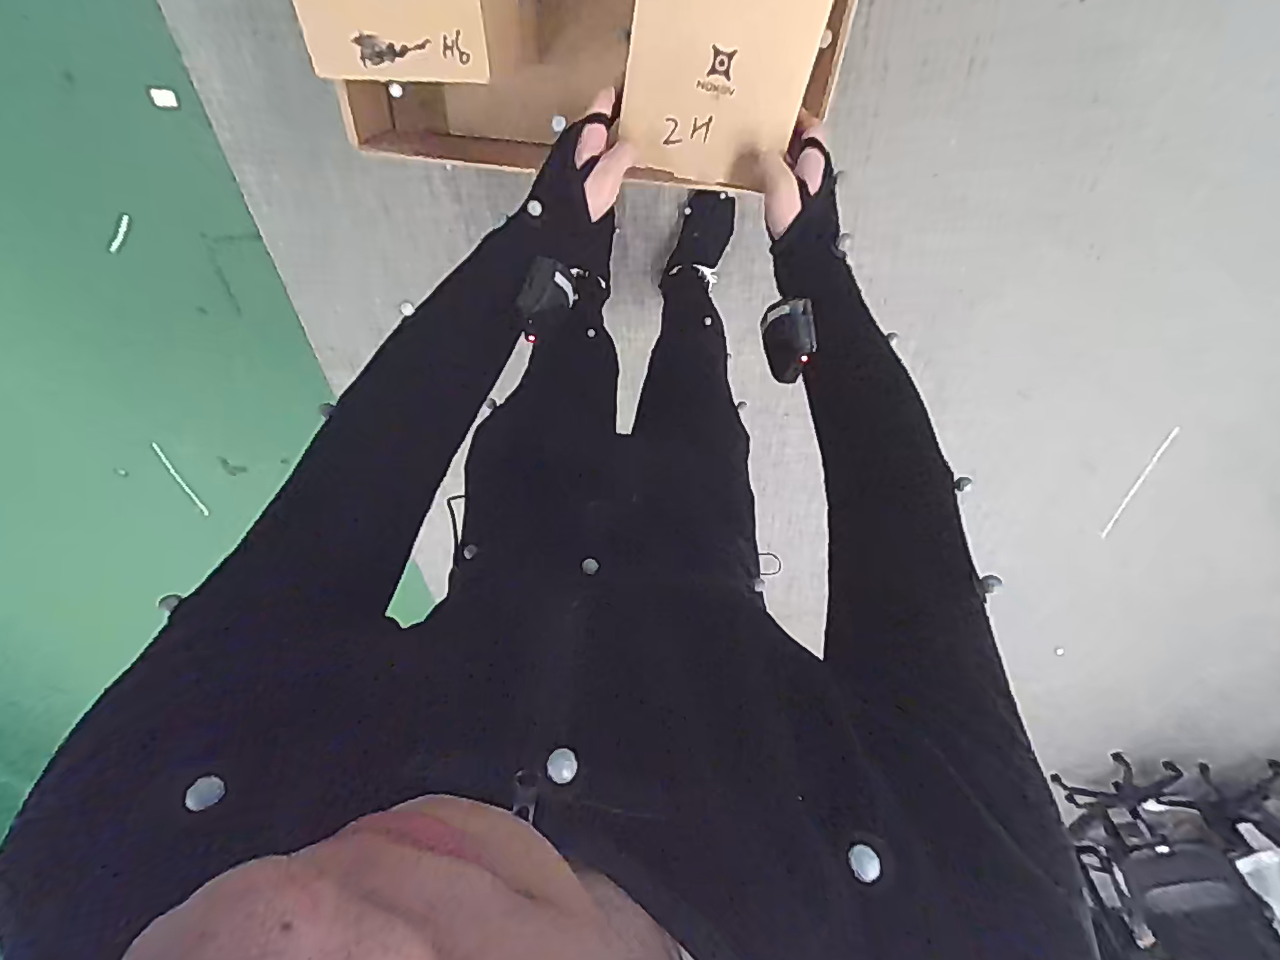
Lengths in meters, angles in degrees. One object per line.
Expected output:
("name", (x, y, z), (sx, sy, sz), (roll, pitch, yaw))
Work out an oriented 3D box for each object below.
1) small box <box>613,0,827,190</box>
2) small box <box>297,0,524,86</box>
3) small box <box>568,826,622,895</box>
("small box", (0.070, -0.428, 0.551), (0.168, 0.176, 0.179), (9, 133, -5))
("small box", (-0.218, -0.496, 0.521), (0.168, 0.176, 0.179), (3, 131, 2))
("small box", (-0.154, 1.355, 1.922), (0.168, 0.176, 0.179), (-2, 132, 3))
